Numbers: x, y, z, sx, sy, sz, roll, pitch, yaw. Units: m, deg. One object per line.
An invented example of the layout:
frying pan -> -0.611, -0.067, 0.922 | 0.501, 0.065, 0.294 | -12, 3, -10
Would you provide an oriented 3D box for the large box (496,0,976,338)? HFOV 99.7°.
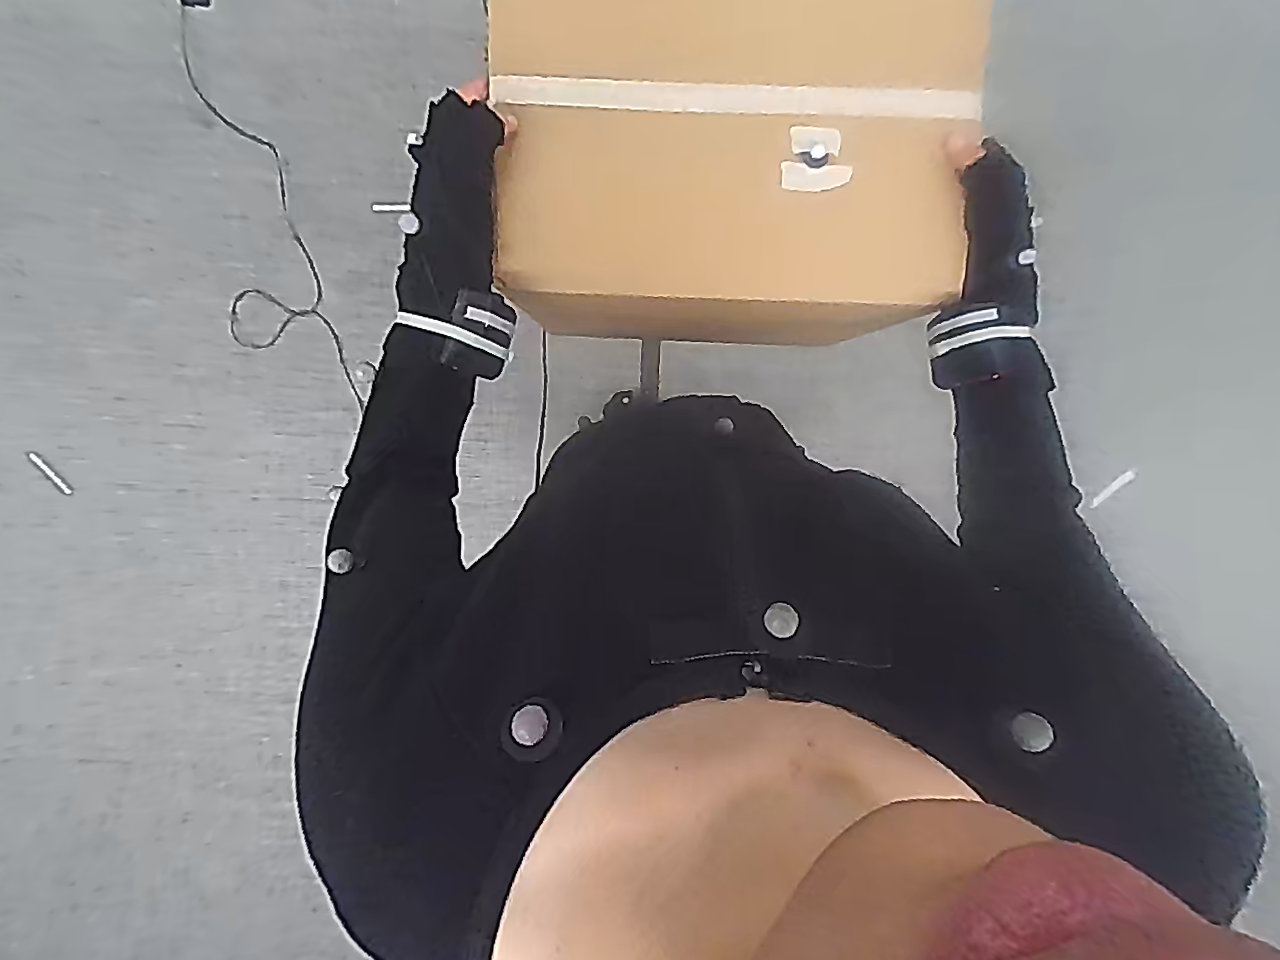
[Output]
large box -> 0.074, -0.338, 0.602 | 0.408, 0.320, 0.320 | 2, 98, -1
